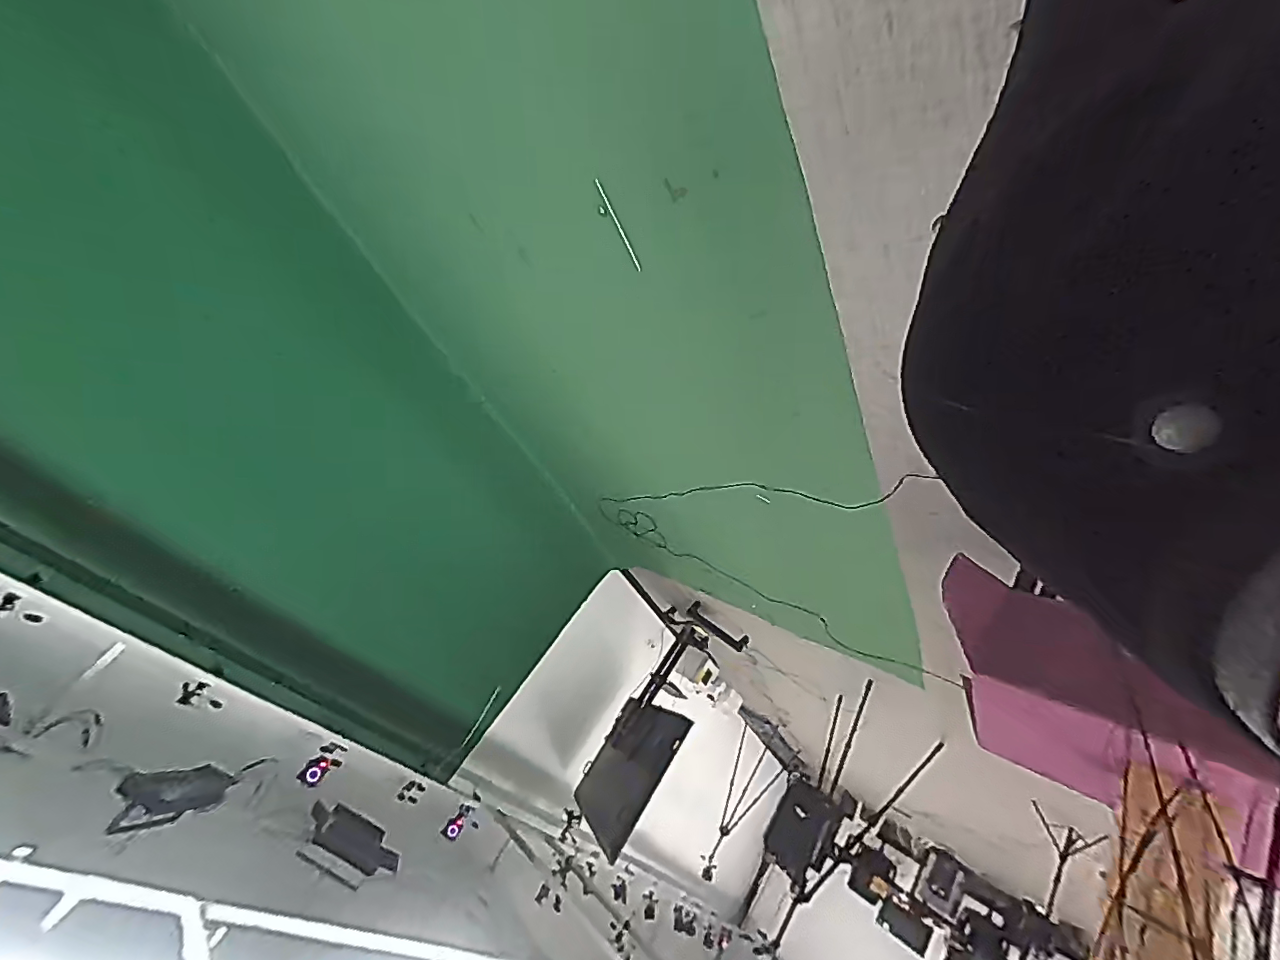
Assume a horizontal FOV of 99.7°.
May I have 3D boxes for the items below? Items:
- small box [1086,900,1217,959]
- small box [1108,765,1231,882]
[{"bbox_3d":[1.114,1.066,1.189,0.179,0.176,0.168,16,150,42],"label":"small box"},{"bbox_3d":[1.297,0.832,1.330,0.179,0.176,0.168,17,150,42],"label":"small box"}]
